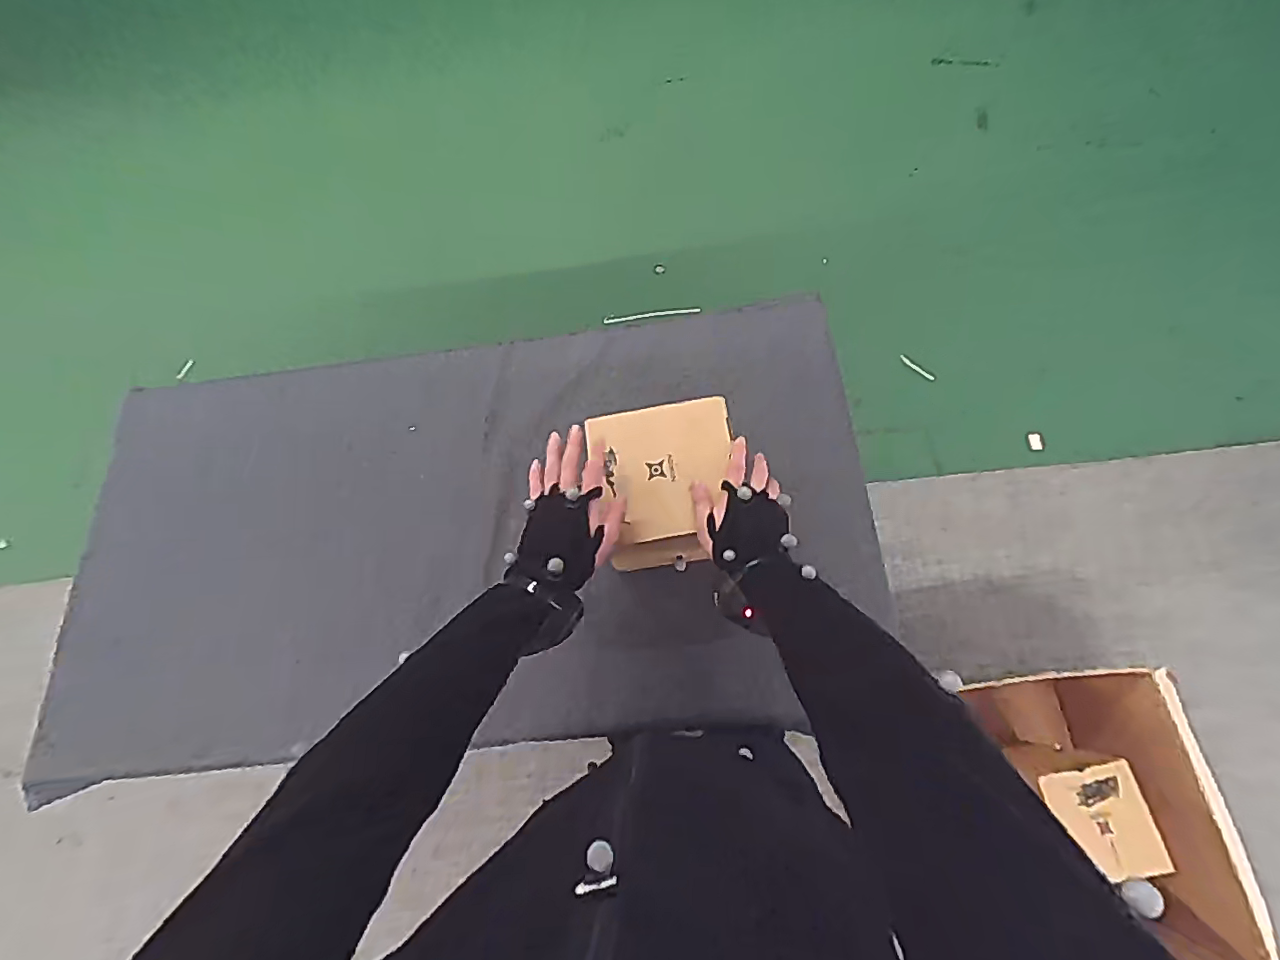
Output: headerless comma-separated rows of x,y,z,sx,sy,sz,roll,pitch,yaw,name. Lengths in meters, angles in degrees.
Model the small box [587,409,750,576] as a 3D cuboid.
0.037,0.026,0.729,0.179,0.176,0.168,-12,71,2,small box
